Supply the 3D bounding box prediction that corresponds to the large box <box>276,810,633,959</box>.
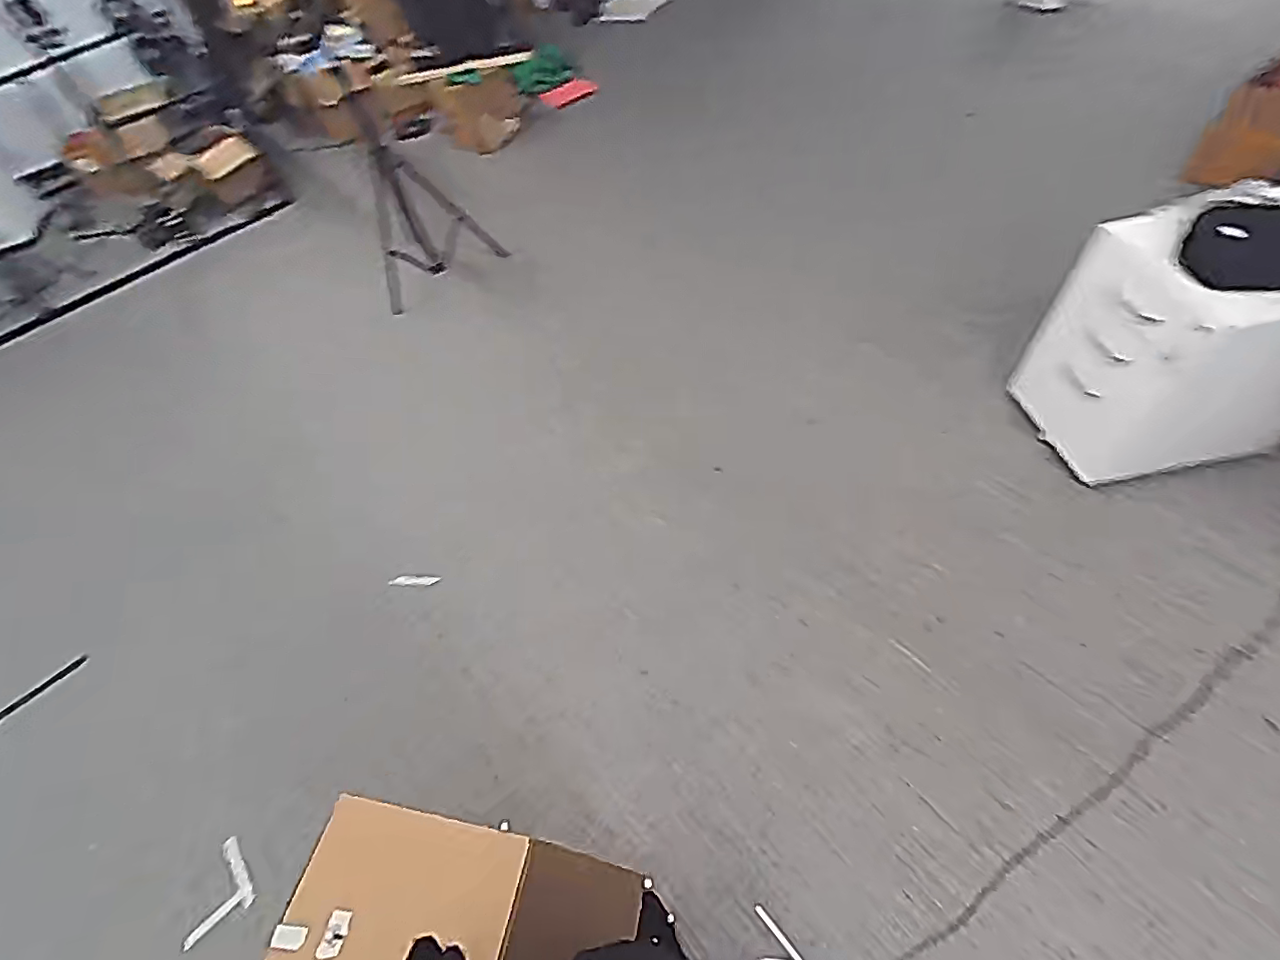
[{"bbox_3d":[-0.242,0.678,0.741,0.320,0.408,0.320,-3,51,22],"label":"large box"}]
